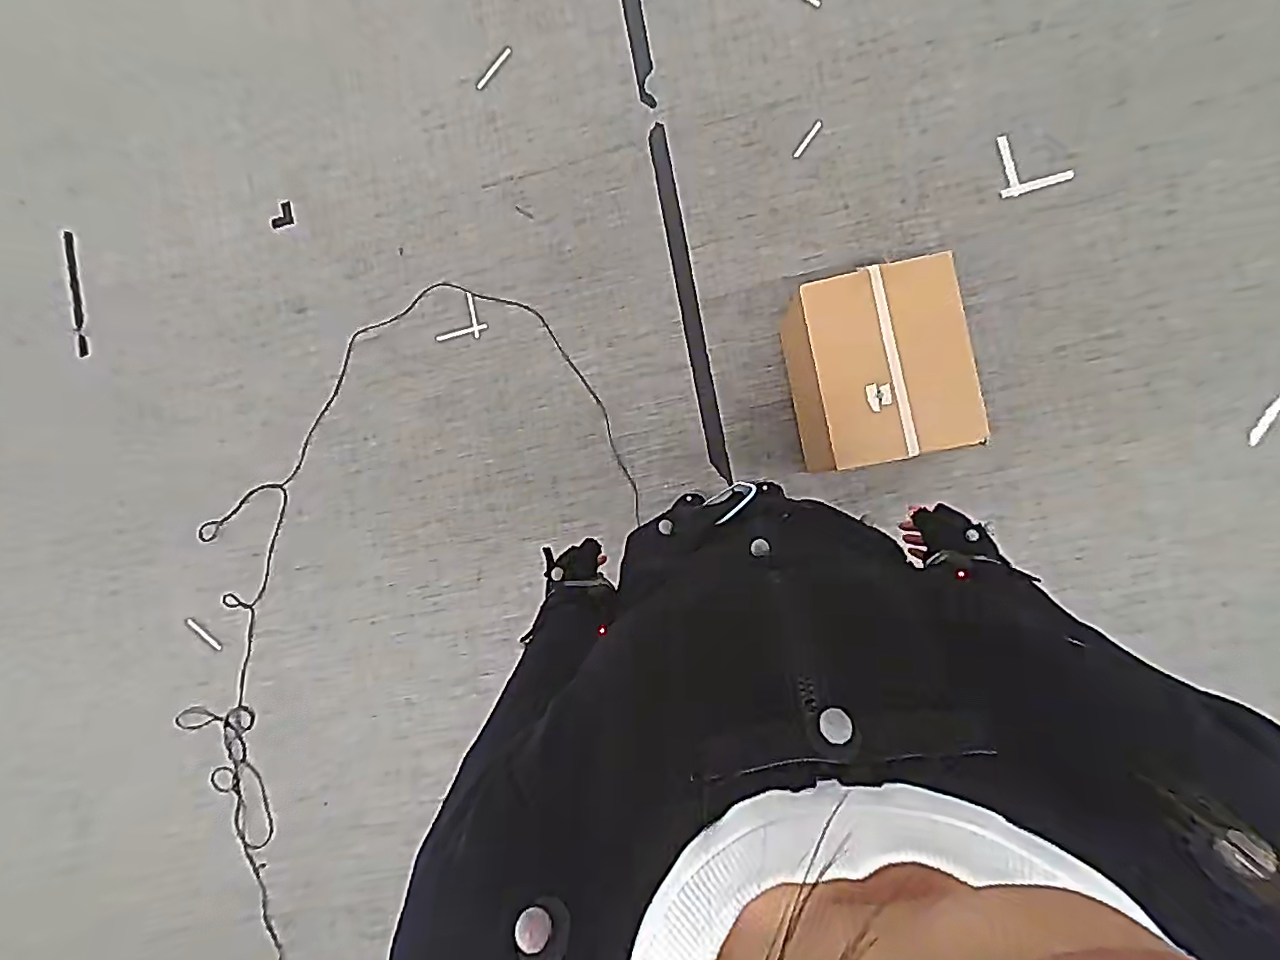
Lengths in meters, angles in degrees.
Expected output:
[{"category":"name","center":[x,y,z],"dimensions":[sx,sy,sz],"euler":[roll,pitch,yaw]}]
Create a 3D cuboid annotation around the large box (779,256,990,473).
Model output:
[{"category":"large box","center":[0.543,-0.243,1.276],"dimensions":[0.320,0.320,0.408],"euler":[-12,89,7]}]
